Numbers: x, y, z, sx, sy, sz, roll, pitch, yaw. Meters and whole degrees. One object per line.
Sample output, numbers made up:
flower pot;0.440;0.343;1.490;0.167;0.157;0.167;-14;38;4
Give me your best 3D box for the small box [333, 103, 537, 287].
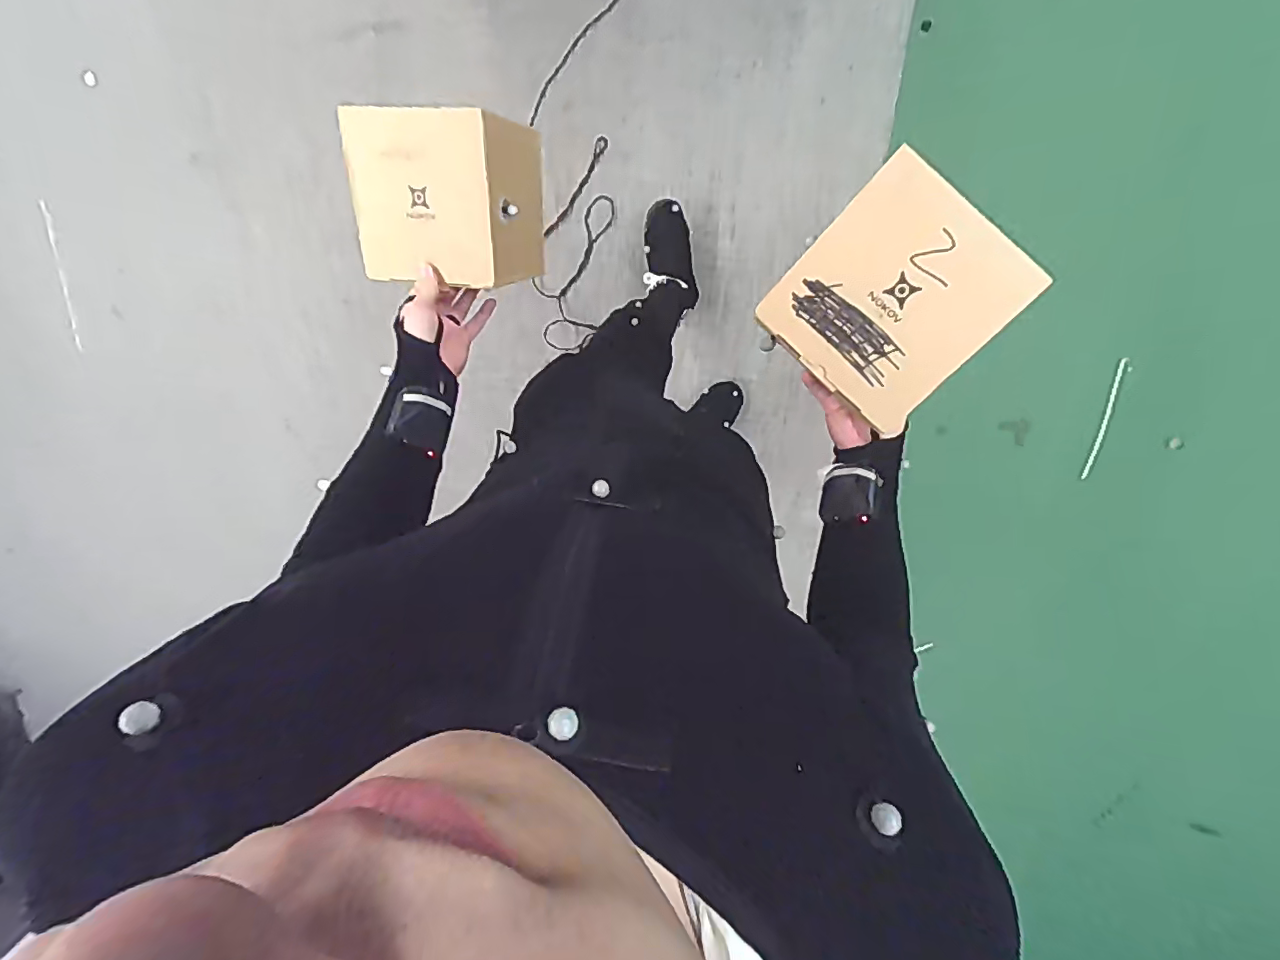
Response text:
small box;-0.233;-0.345;0.665;0.168;0.176;0.179;7;117;8
